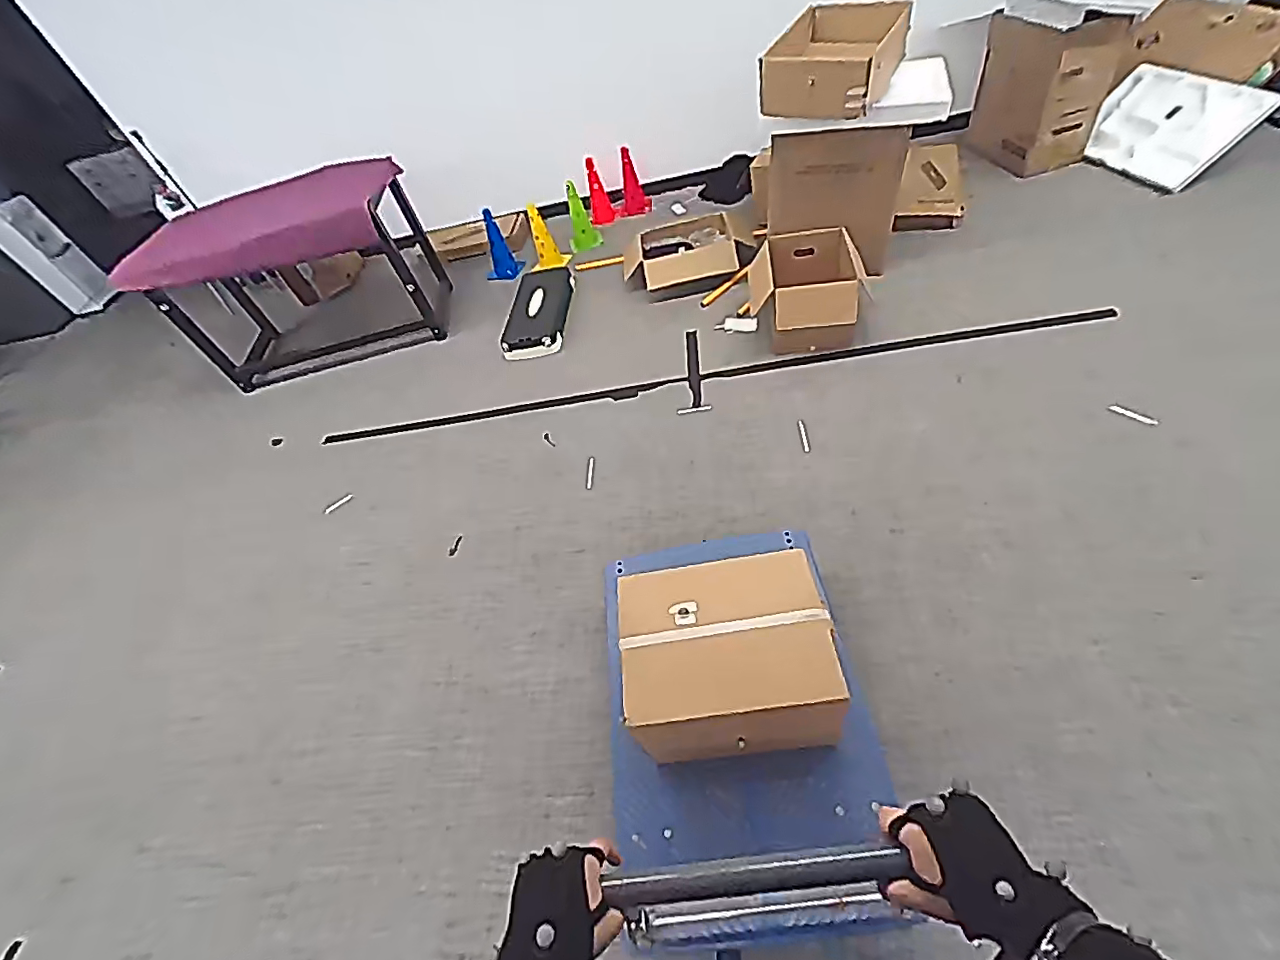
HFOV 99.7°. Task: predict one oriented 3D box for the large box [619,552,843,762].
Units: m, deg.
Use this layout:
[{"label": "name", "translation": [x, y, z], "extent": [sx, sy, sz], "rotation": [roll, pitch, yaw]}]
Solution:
[{"label": "large box", "translation": [0.191, 0.400, 1.192], "extent": [0.408, 0.320, 0.320], "rotation": [-11, 49, 7]}]
